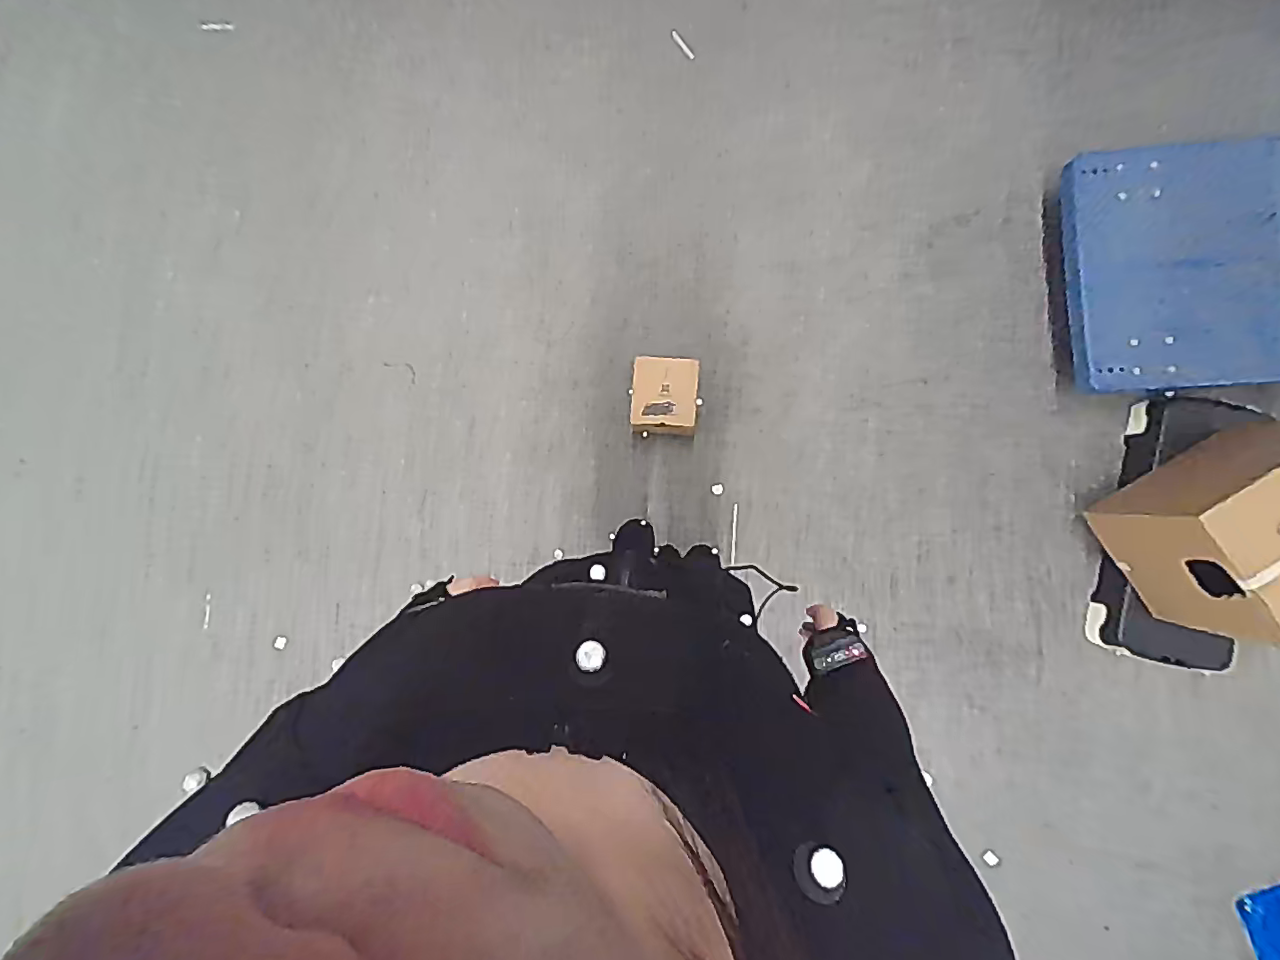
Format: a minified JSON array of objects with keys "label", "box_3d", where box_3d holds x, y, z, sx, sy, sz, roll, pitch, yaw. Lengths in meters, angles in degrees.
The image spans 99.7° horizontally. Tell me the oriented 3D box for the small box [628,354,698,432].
[{"label":"small box","box_3d":[0.063,-0.225,1.437,0.168,0.176,0.179,5,88,3]}]
